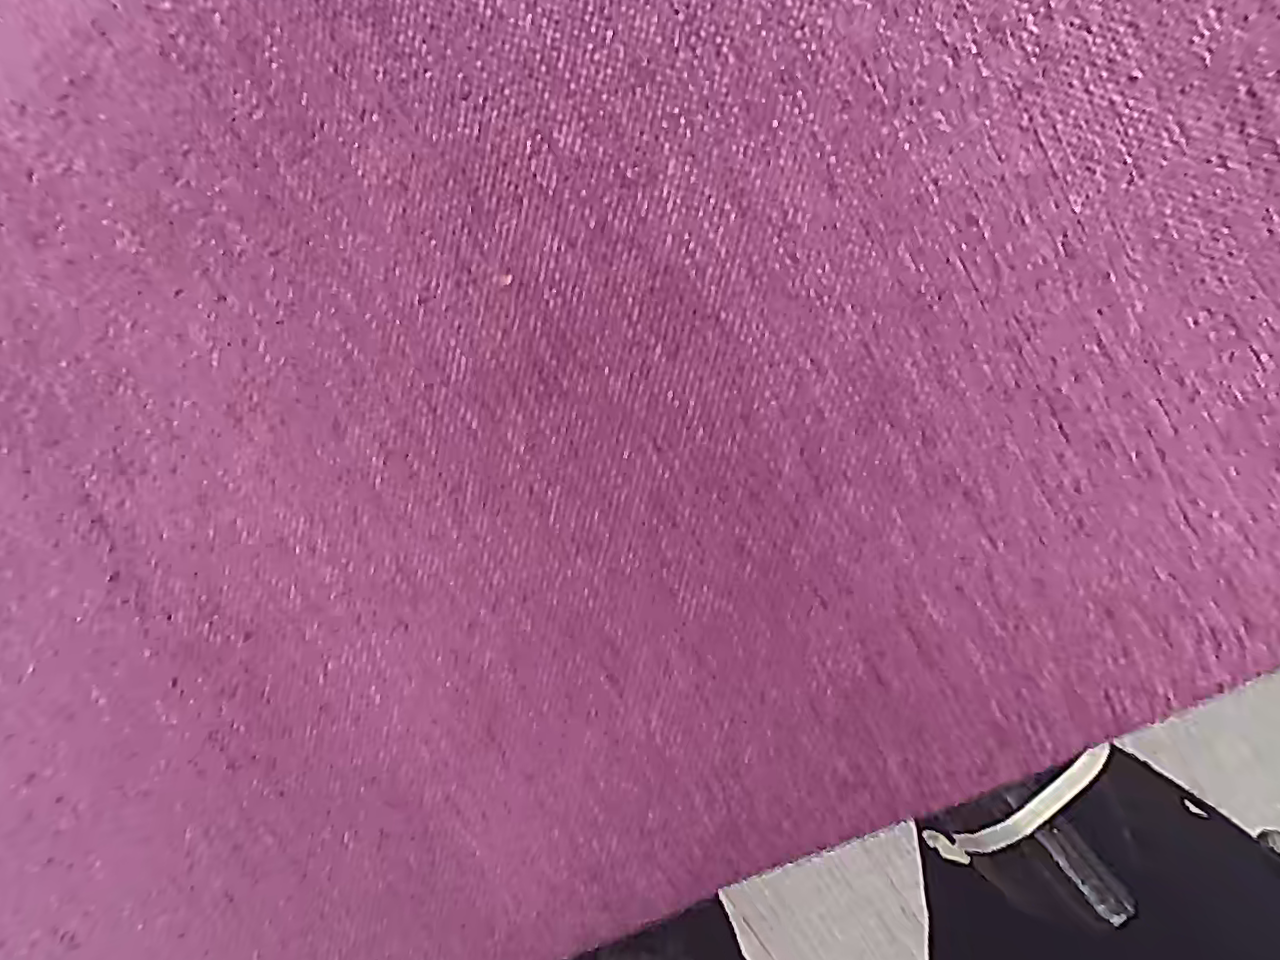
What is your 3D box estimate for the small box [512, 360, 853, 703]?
[{"bbox_3d":[0.029,0.046,0.421,0.168,0.176,0.179,-26,73,-3],"label":"small box"}]
